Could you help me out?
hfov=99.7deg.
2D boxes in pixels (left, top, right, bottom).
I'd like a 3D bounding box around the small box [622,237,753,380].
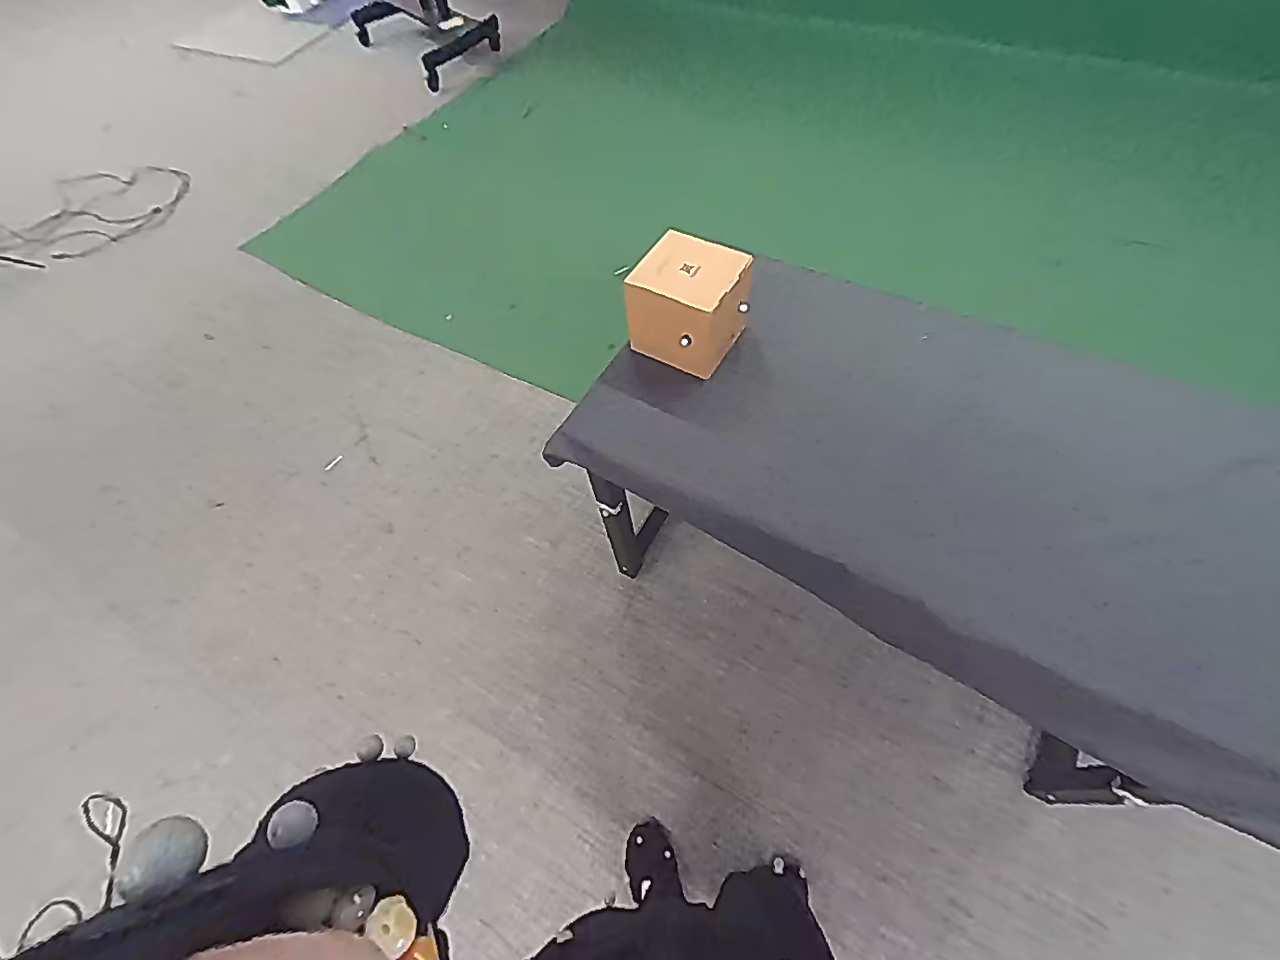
[{"bbox_3d":[0.088,-0.315,1.014,0.179,0.176,0.168,28,63,20],"label":"small box"}]
